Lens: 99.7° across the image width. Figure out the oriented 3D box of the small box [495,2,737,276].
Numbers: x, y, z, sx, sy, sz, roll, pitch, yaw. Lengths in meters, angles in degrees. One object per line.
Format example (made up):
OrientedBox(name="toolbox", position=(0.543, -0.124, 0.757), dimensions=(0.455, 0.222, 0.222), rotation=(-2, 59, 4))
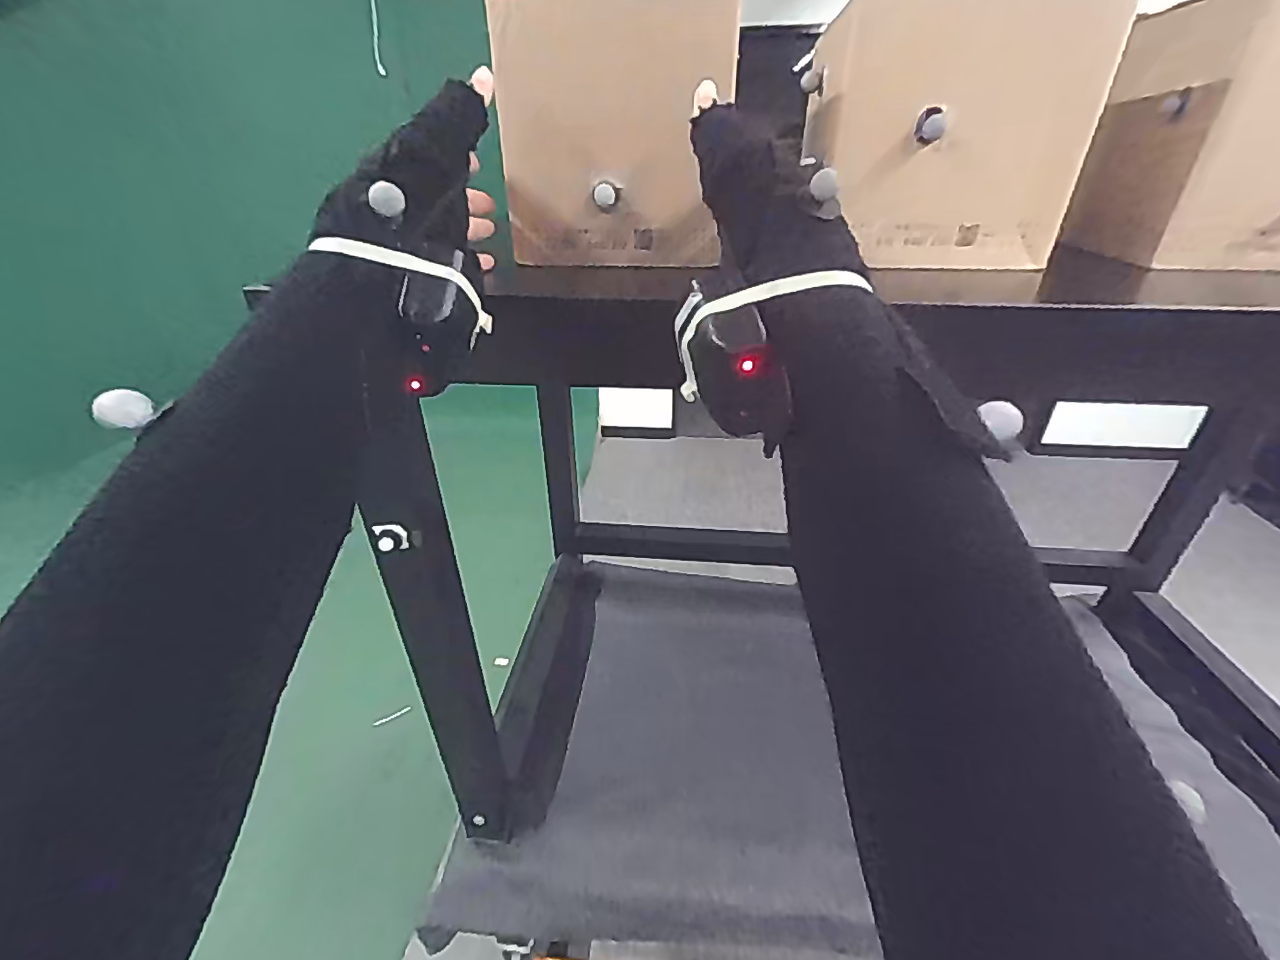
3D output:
OrientedBox(name="small box", position=(-0.011, -0.281, 0.465), dimensions=(0.168, 0.176, 0.179), rotation=(2, 31, 4))
